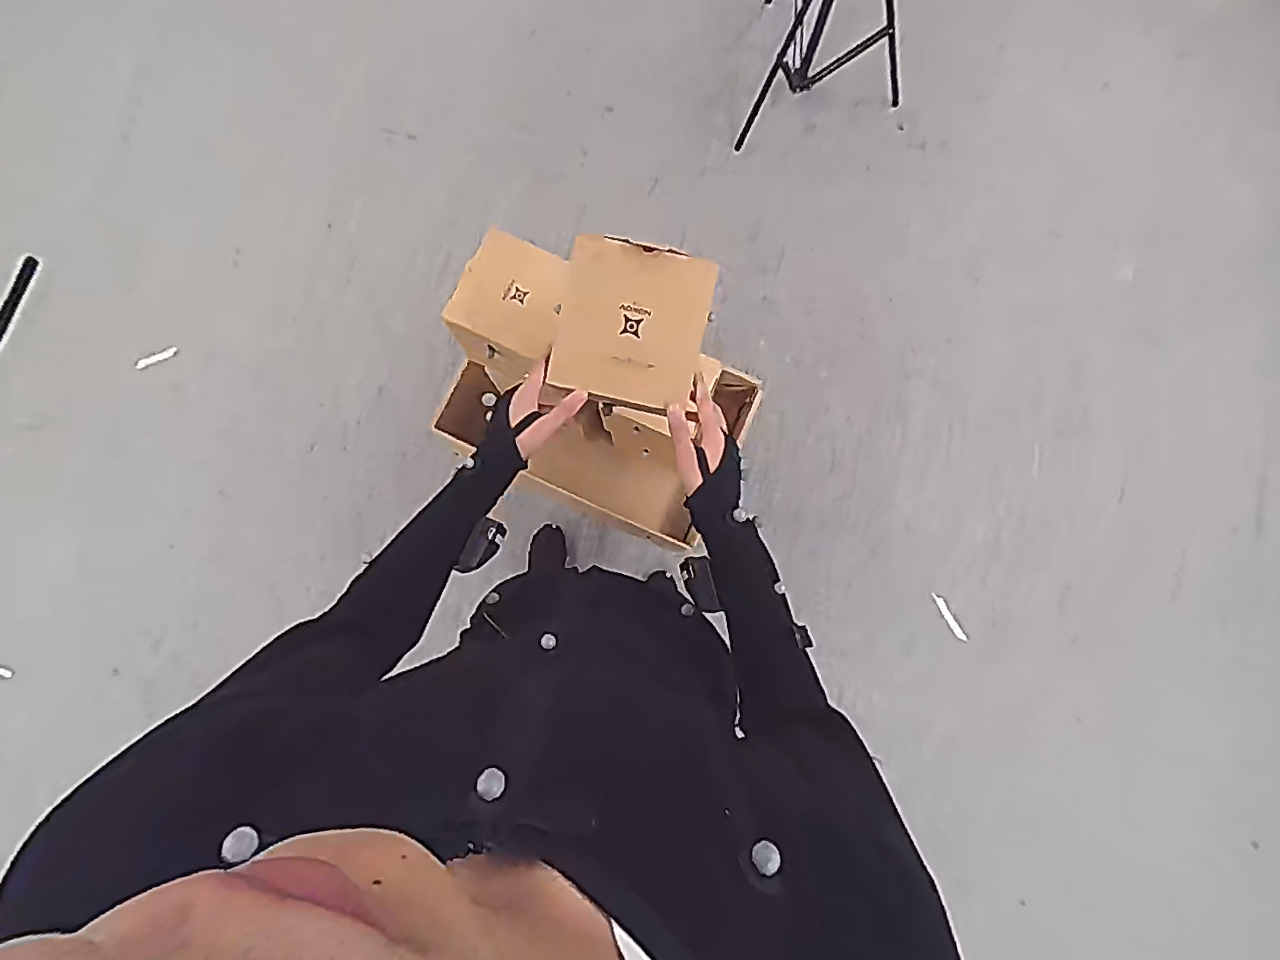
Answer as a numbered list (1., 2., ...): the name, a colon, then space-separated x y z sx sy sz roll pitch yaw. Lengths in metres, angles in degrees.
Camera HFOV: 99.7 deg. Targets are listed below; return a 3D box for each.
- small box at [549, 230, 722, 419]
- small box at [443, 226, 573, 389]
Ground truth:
1. small box: -0.006 -0.180 0.679 0.168 0.176 0.179 12 95 0
2. small box: -0.184 -0.267 0.885 0.179 0.176 0.168 25 81 2
